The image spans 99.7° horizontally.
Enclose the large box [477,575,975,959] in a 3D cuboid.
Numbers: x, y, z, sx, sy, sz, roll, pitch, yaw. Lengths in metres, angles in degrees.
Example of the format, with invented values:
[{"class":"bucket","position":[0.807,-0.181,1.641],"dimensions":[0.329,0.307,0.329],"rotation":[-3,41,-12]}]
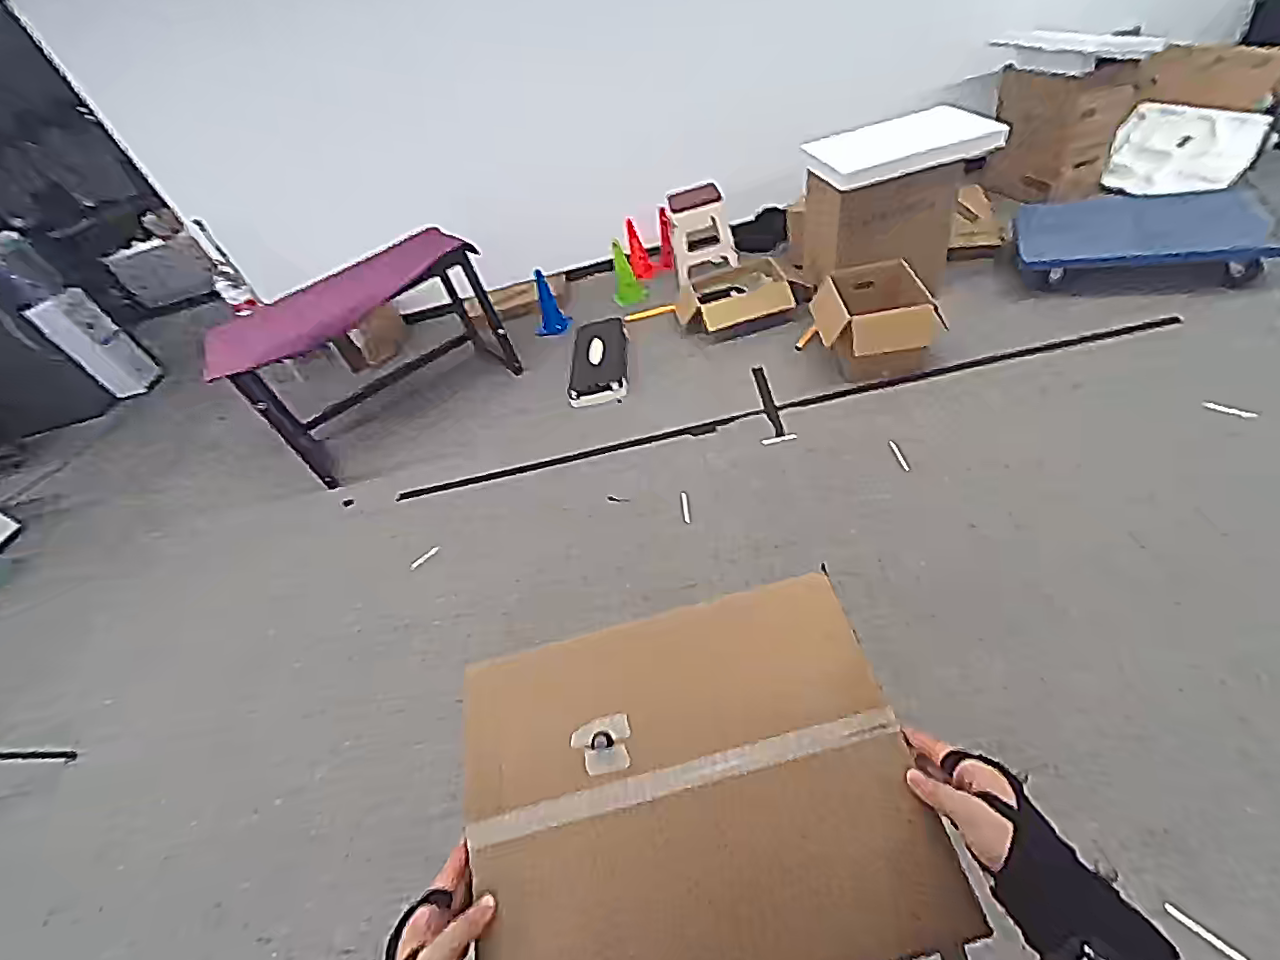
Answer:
[{"class":"large box","position":[0.068,0.357,0.633],"dimensions":[0.408,0.320,0.320],"rotation":[-15,55,0]}]
